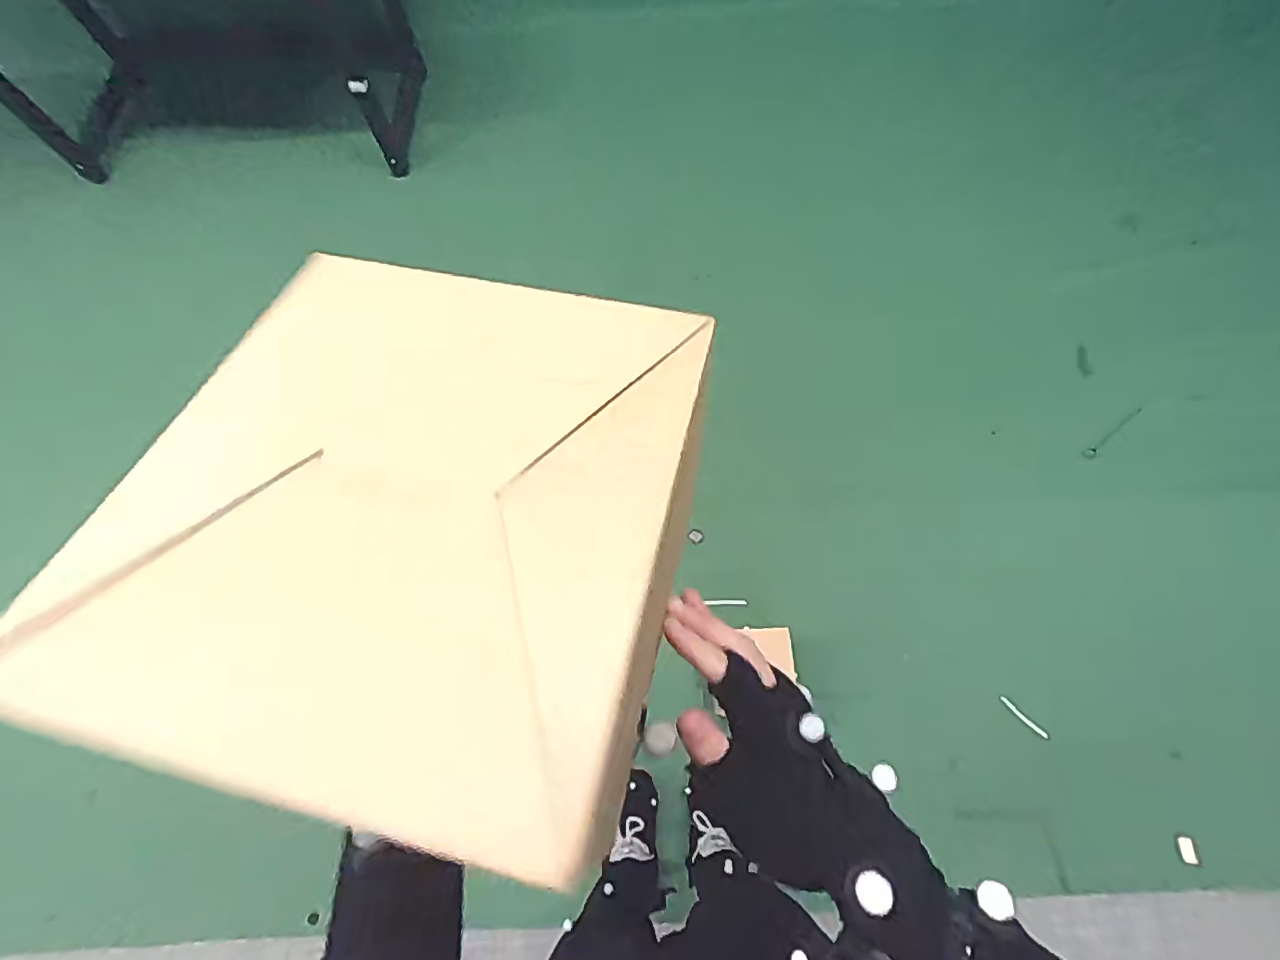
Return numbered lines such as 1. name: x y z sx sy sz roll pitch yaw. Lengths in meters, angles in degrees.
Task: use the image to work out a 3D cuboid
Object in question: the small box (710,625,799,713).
1. small box: 0.252 0.431 1.232 0.168 0.176 0.179 -3 68 1
